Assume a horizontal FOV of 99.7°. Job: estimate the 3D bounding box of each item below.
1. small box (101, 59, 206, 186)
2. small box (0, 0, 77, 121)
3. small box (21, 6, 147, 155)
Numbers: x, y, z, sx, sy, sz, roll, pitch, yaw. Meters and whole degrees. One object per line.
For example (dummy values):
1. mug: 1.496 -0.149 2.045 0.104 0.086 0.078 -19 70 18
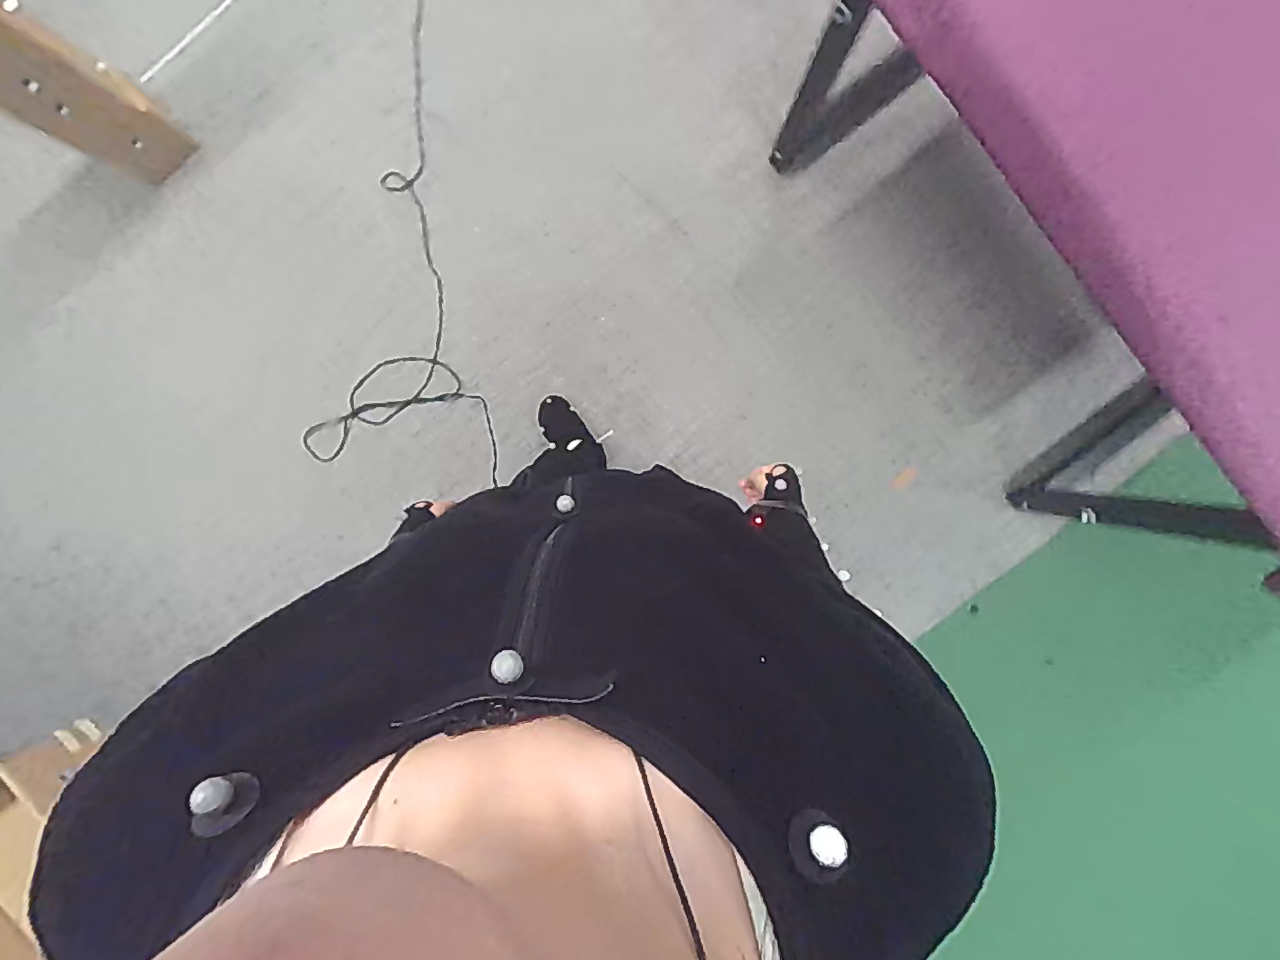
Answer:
1. small box: -1.286 -0.904 1.387 0.179 0.176 0.168 -39 92 2
2. small box: -1.286 -0.868 1.062 0.179 0.176 0.168 -41 93 3
3. small box: -1.296 -0.888 1.224 0.179 0.176 0.168 -39 93 3
